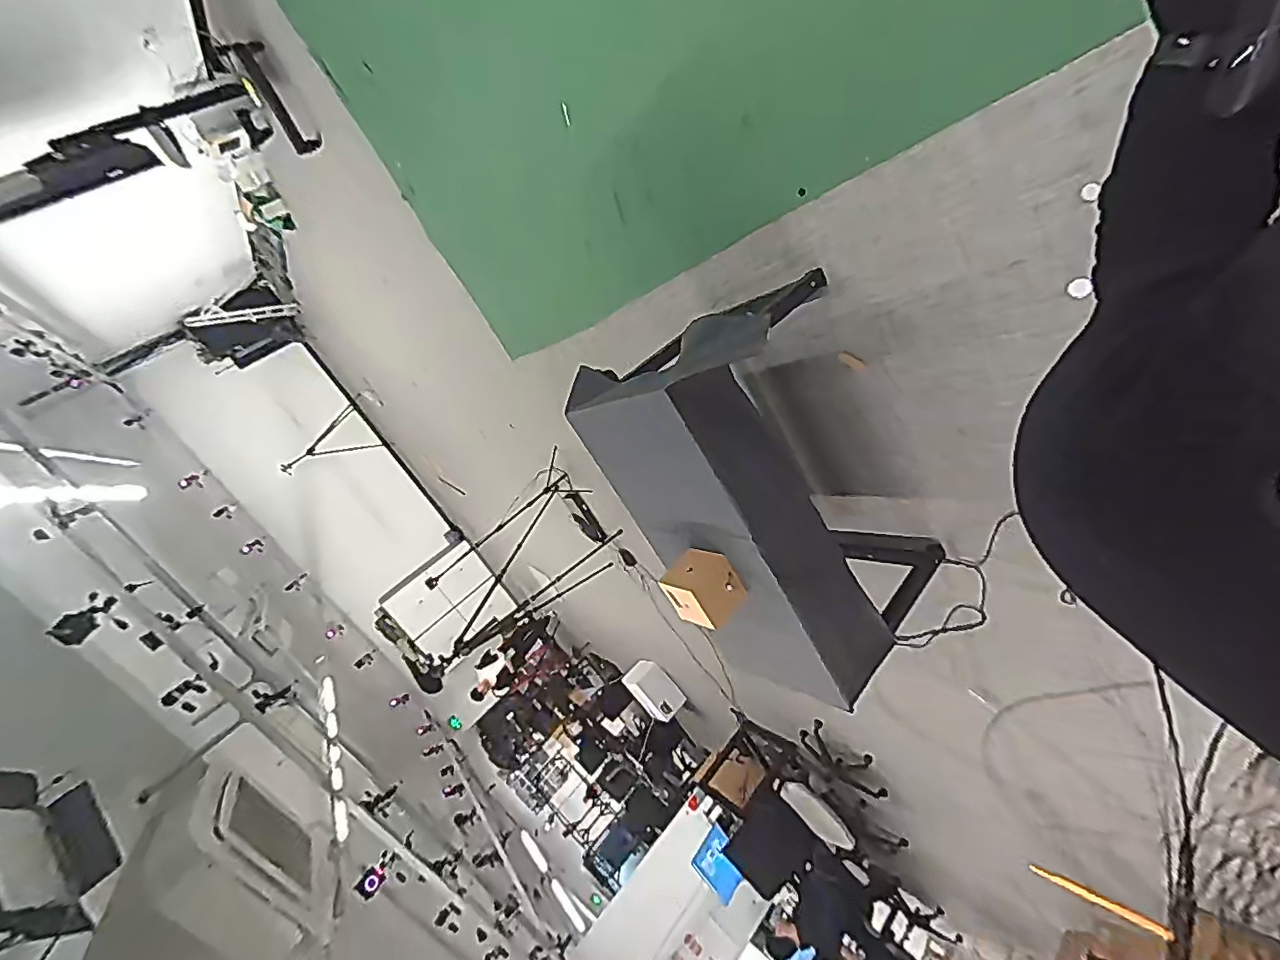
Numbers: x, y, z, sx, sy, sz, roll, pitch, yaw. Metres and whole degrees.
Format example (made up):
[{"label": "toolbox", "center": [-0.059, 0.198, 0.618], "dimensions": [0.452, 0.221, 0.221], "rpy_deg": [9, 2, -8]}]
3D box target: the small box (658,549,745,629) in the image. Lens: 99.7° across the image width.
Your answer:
[{"label": "small box", "center": [0.196, 0.336, 1.705], "dimensions": [0.179, 0.176, 0.168], "rpy_deg": [0, 127, 57]}]
